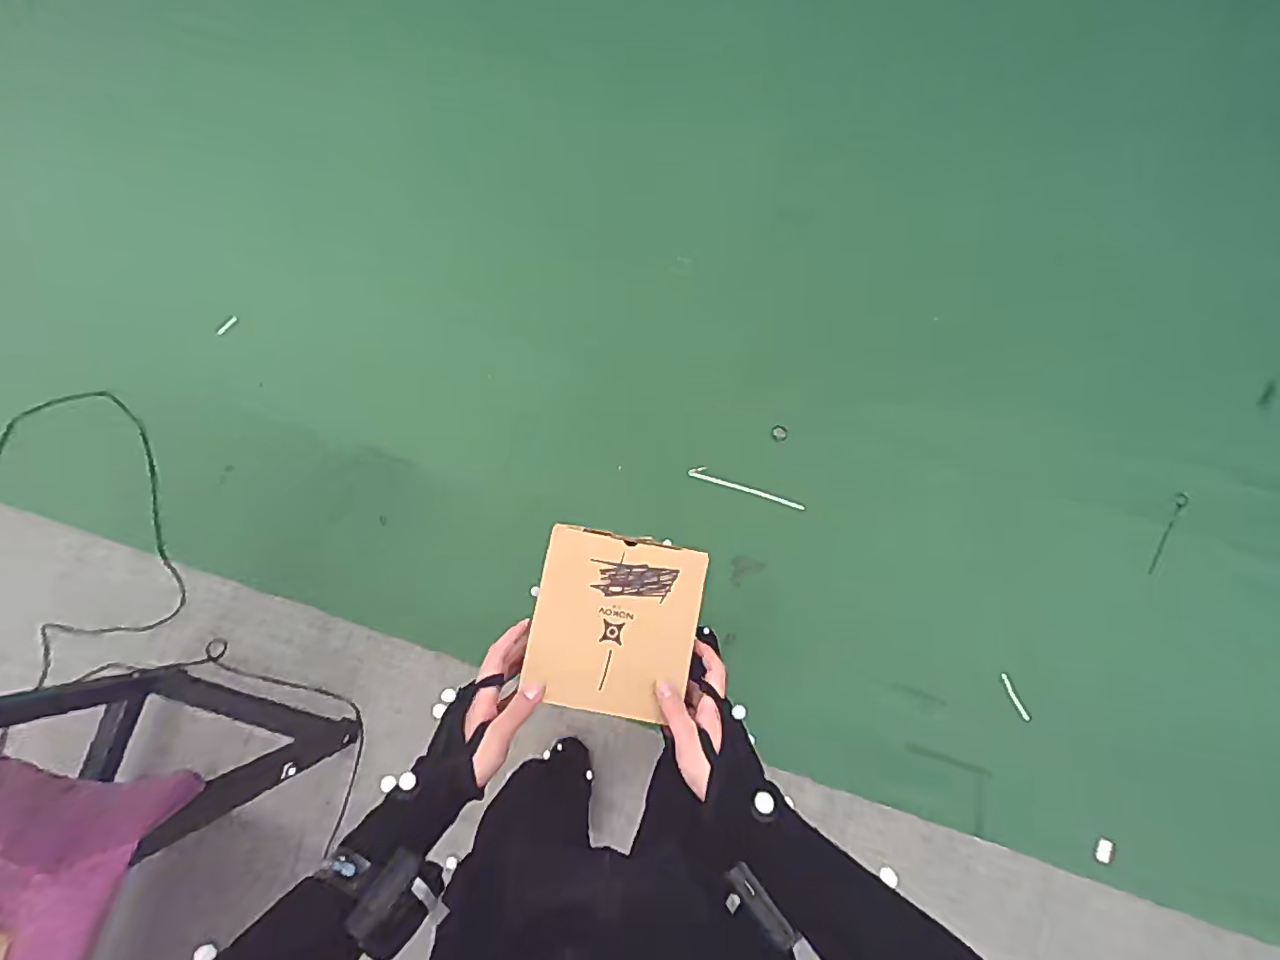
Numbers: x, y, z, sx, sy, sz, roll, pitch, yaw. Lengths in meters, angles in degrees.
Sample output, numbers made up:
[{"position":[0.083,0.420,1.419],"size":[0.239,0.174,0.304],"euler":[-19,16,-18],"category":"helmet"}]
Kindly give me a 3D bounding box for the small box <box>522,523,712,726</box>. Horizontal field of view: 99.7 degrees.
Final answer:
[{"position":[-0.026,0.156,0.623],"size":[0.168,0.176,0.179],"euler":[11,81,-1],"category":"small box"}]
